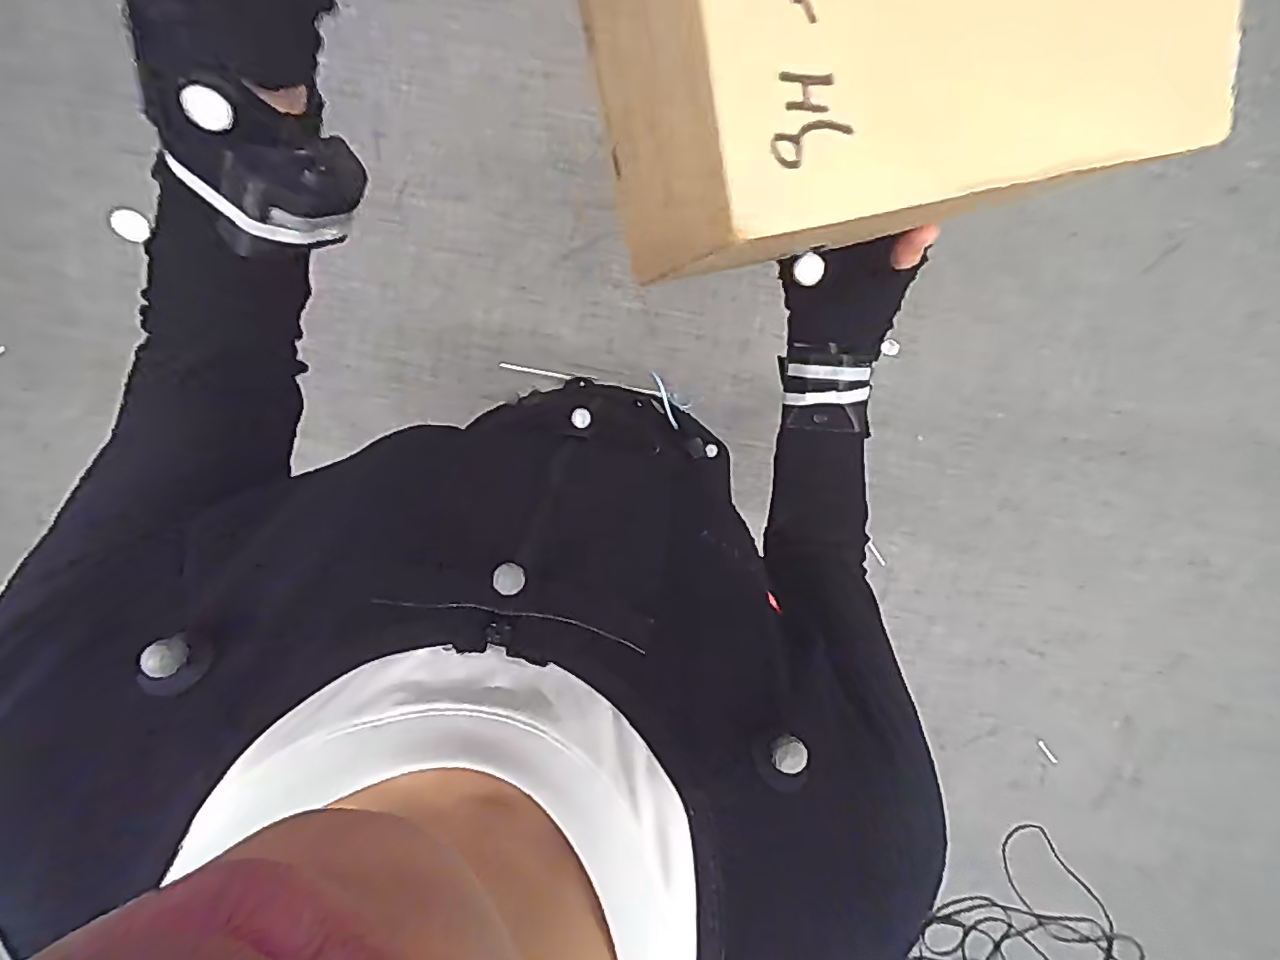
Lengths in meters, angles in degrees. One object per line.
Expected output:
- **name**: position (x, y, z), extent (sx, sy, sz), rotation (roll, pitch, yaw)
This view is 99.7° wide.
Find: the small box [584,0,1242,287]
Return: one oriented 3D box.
- **small box**: position (0.083, -0.183, 0.222), extent (0.179, 0.176, 0.168), rotation (-14, 107, -8)
